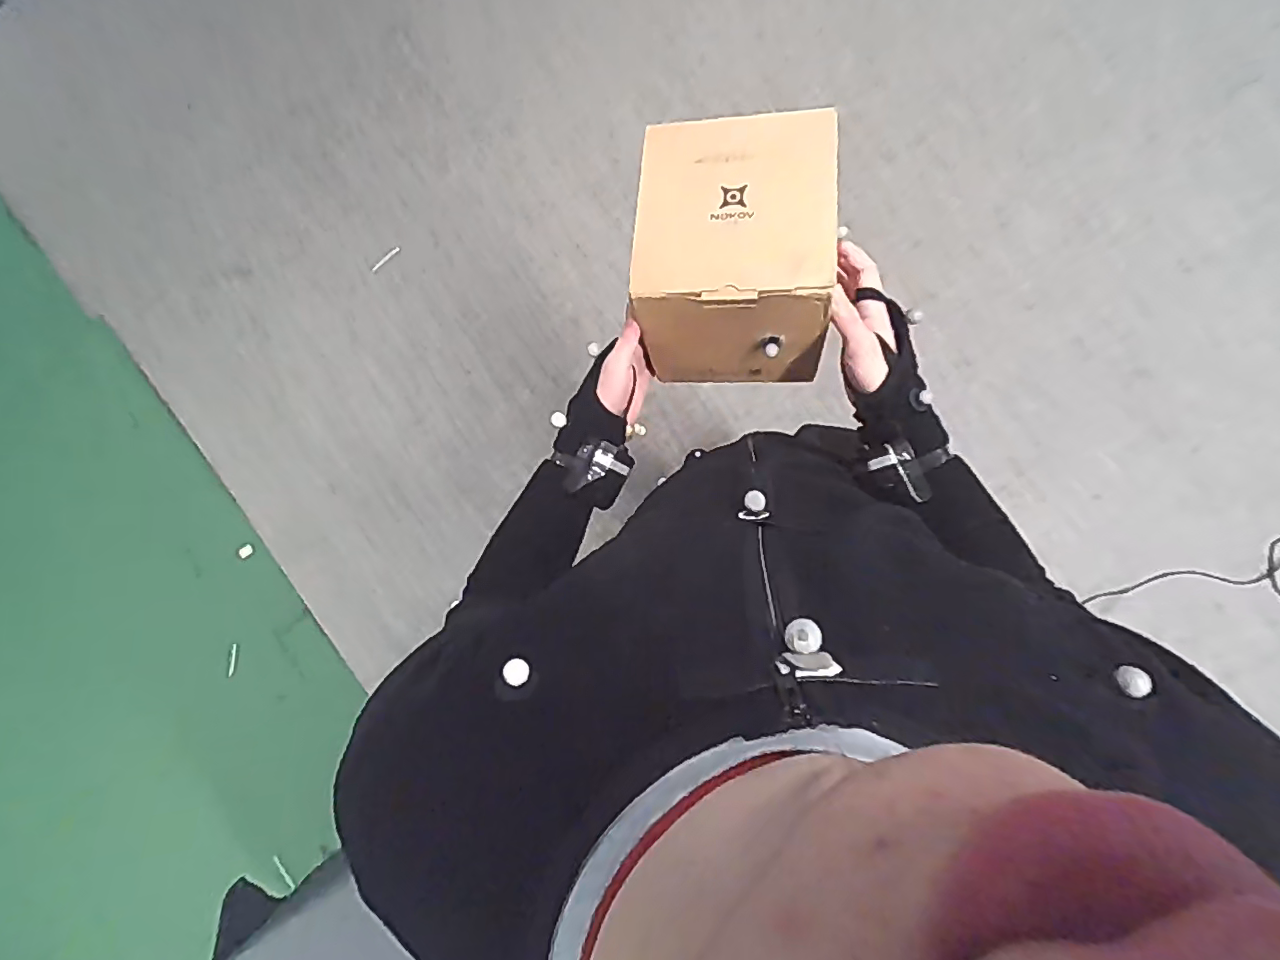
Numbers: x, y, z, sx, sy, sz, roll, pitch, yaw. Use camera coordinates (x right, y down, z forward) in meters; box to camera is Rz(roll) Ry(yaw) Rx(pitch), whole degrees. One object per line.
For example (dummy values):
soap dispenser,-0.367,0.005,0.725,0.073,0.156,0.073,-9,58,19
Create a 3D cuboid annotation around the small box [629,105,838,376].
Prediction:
small box,0.092,-0.211,0.520,0.168,0.176,0.179,2,75,11
